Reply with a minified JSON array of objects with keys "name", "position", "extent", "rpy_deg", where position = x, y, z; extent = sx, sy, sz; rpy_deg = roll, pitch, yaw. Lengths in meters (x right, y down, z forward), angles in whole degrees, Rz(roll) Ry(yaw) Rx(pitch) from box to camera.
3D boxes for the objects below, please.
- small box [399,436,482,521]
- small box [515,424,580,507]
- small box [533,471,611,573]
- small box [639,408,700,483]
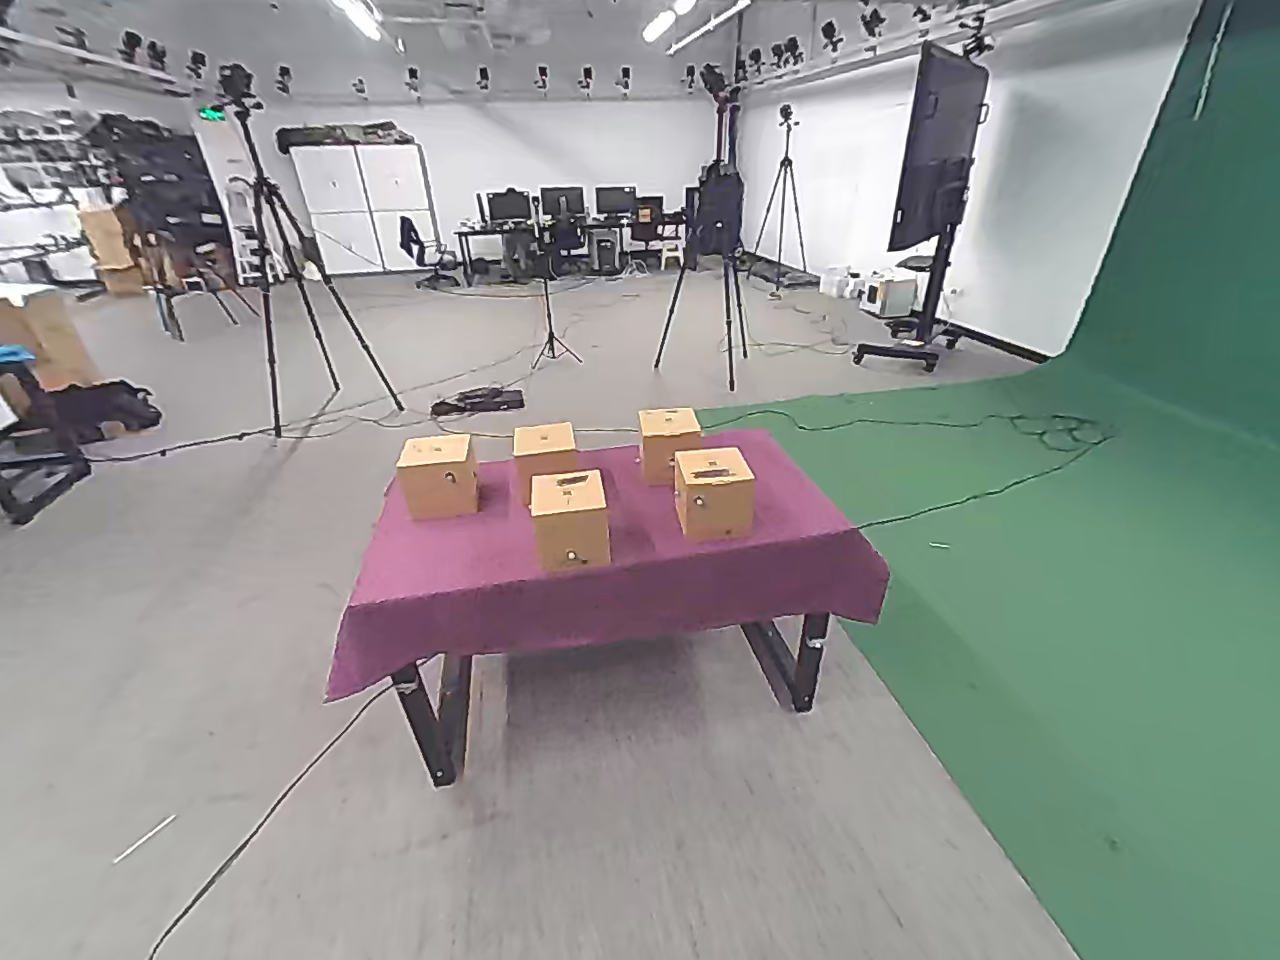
[{"name":"small box","position":[-0.540,-0.005,1.496],"extent":[0.179,0.176,0.168],"rpy_deg":[-7,30,-8]},{"name":"small box","position":[-0.260,-0.044,1.544],"extent":[0.168,0.176,0.179],"rpy_deg":[-8,31,-7]},{"name":"small box","position":[-0.162,0.098,1.291],"extent":[0.168,0.176,0.179],"rpy_deg":[-7,31,-7]},{"name":"small box","position":[0.087,-0.100,1.608],"extent":[0.168,0.176,0.179],"rpy_deg":[-4,31,-3]}]
